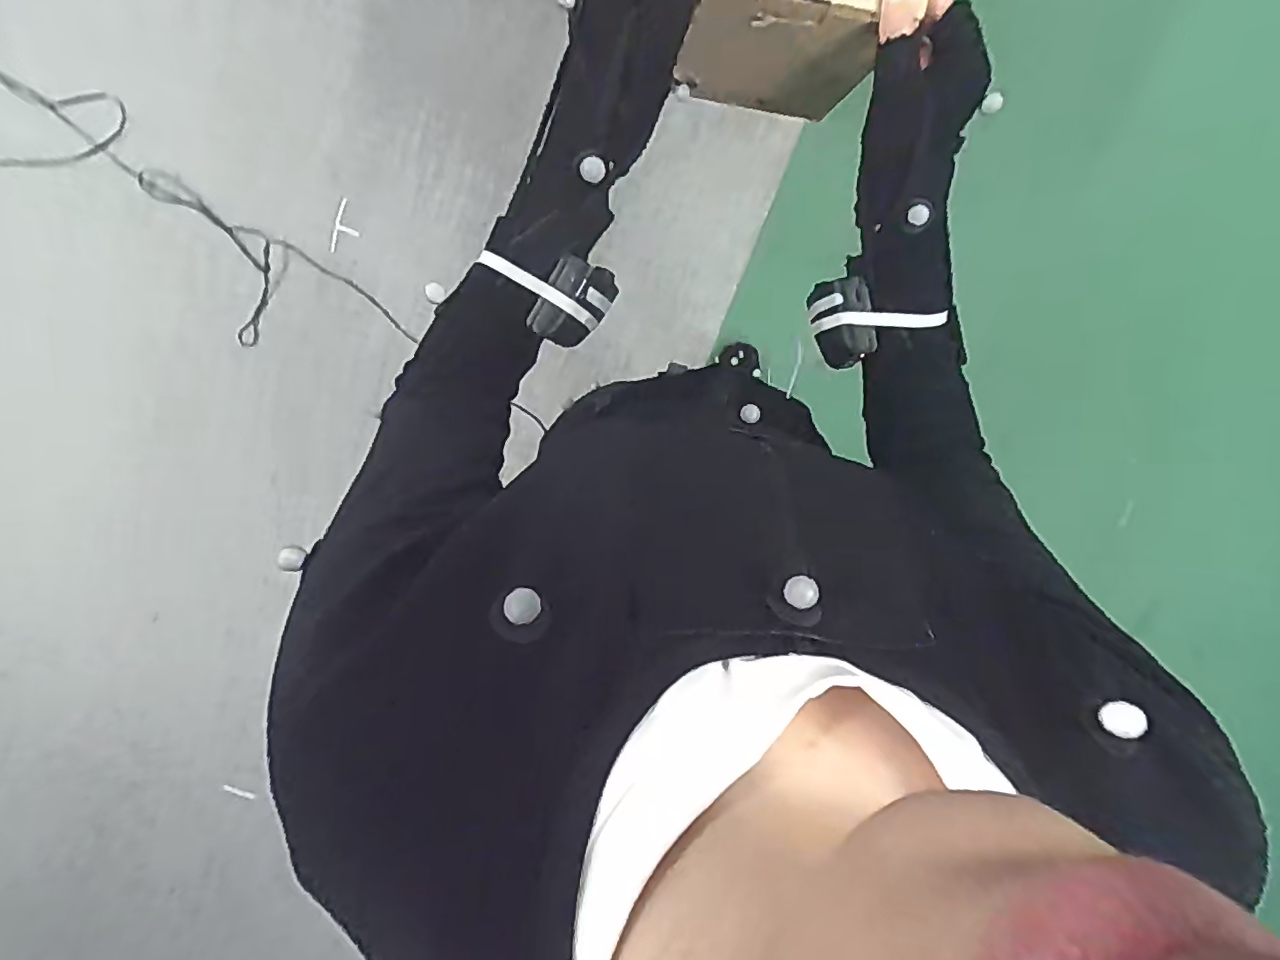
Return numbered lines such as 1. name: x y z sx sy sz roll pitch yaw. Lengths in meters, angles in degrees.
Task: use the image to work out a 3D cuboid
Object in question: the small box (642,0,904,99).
1. small box: 0.093 -0.408 0.384 0.168 0.176 0.179 6 105 -5
